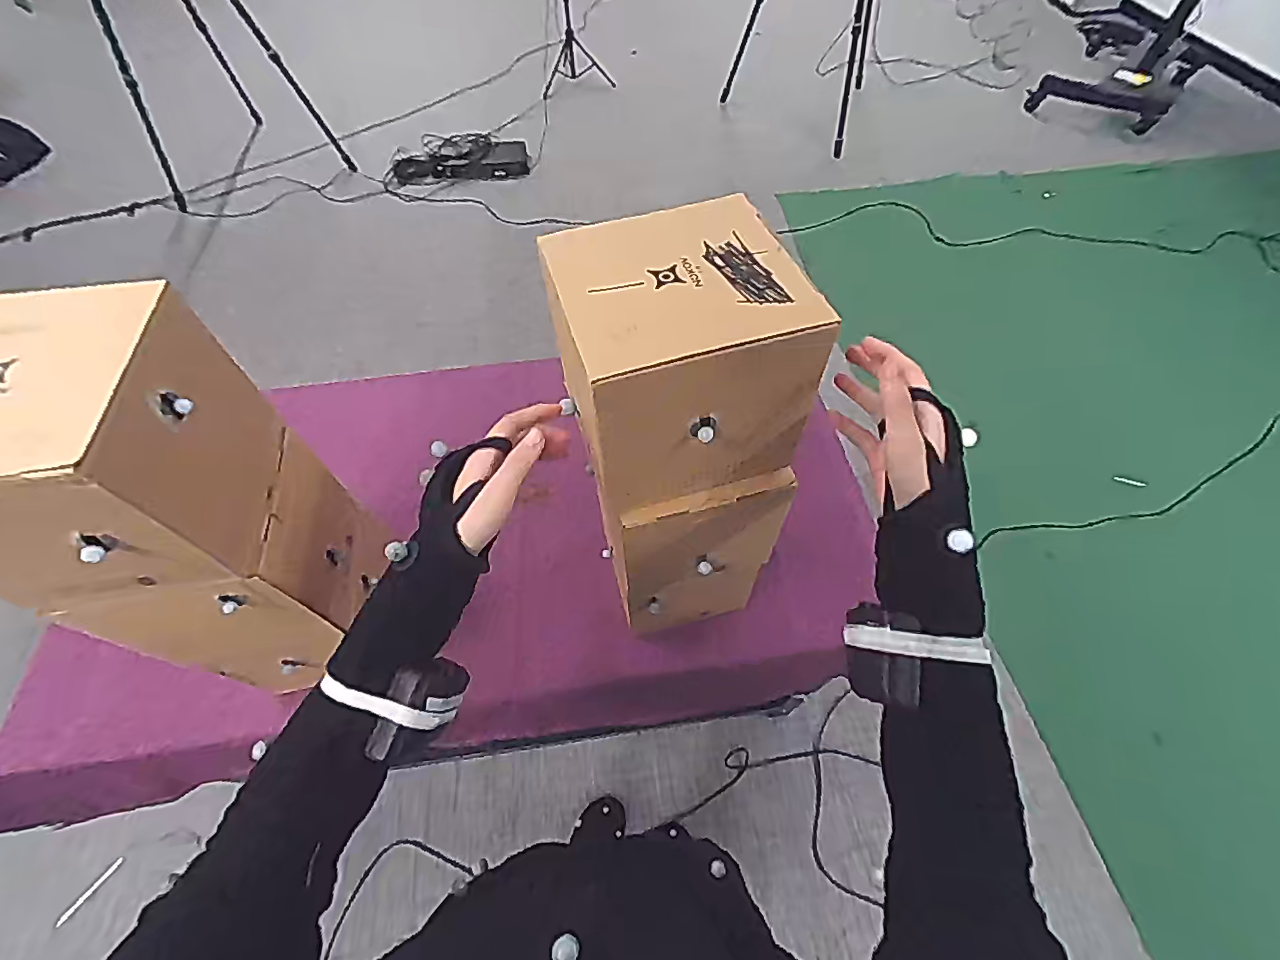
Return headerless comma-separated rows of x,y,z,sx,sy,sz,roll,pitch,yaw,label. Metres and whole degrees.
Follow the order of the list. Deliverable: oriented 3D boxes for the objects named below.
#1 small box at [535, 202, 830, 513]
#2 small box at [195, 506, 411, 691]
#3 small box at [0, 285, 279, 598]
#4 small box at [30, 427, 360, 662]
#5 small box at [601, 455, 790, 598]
0.024,-0.096,0.455,0.179,0.176,0.168,-15,57,-8,small box
-0.416,0.157,0.691,0.179,0.176,0.168,-10,58,-5,small box
-0.419,-0.020,0.418,0.168,0.176,0.179,-7,56,-5,small box
-0.419,0.072,0.551,0.179,0.176,0.168,-9,57,-6,small box
0.038,0.002,0.586,0.168,0.176,0.179,-13,57,-7,small box
